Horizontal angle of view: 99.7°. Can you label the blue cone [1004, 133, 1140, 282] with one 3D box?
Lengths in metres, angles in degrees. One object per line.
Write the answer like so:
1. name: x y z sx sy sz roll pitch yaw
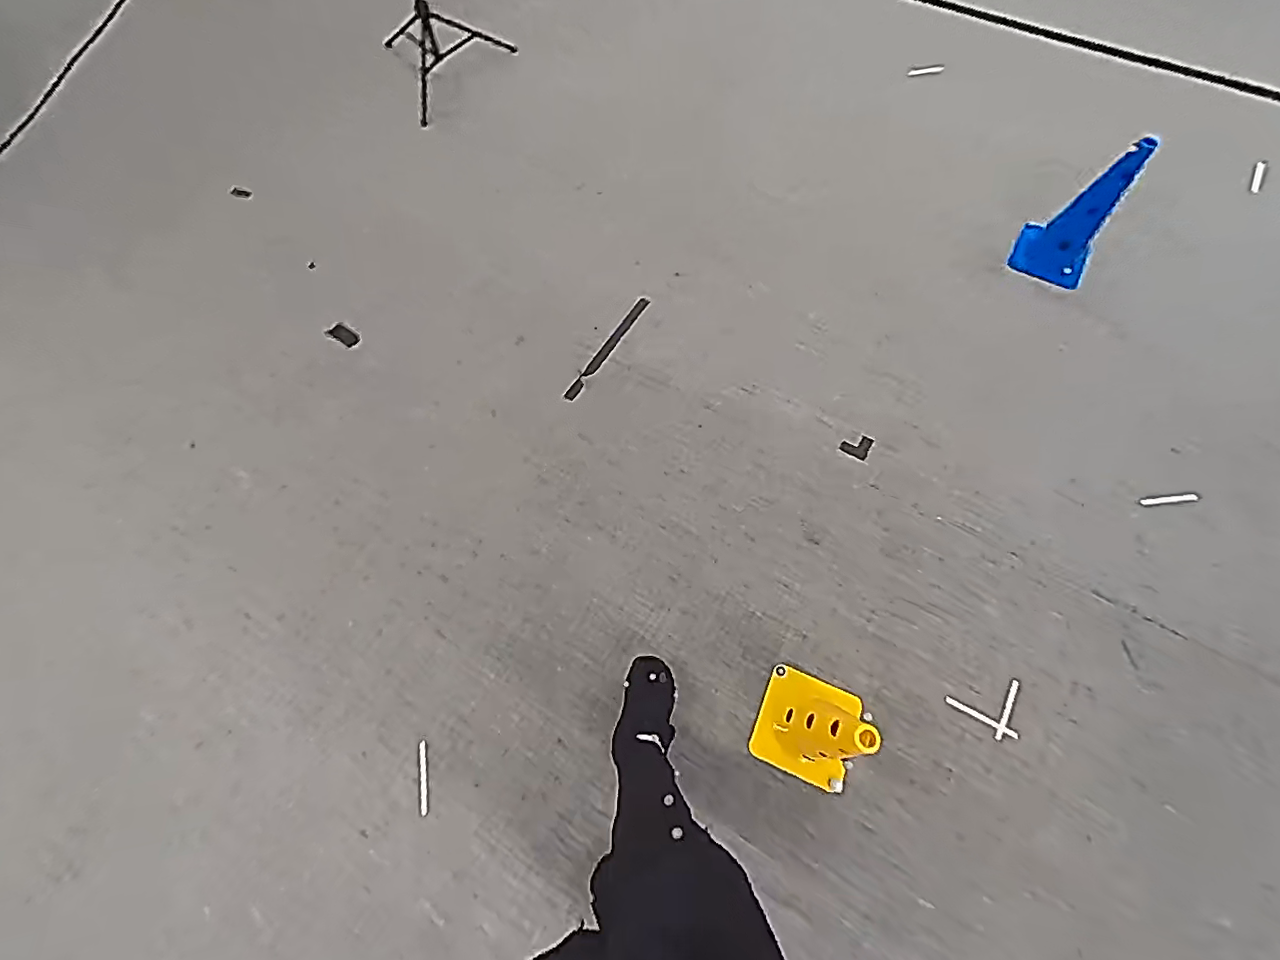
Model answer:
1. blue cone: 1.196 -0.741 1.461 0.192 0.380 0.193 29 71 14
